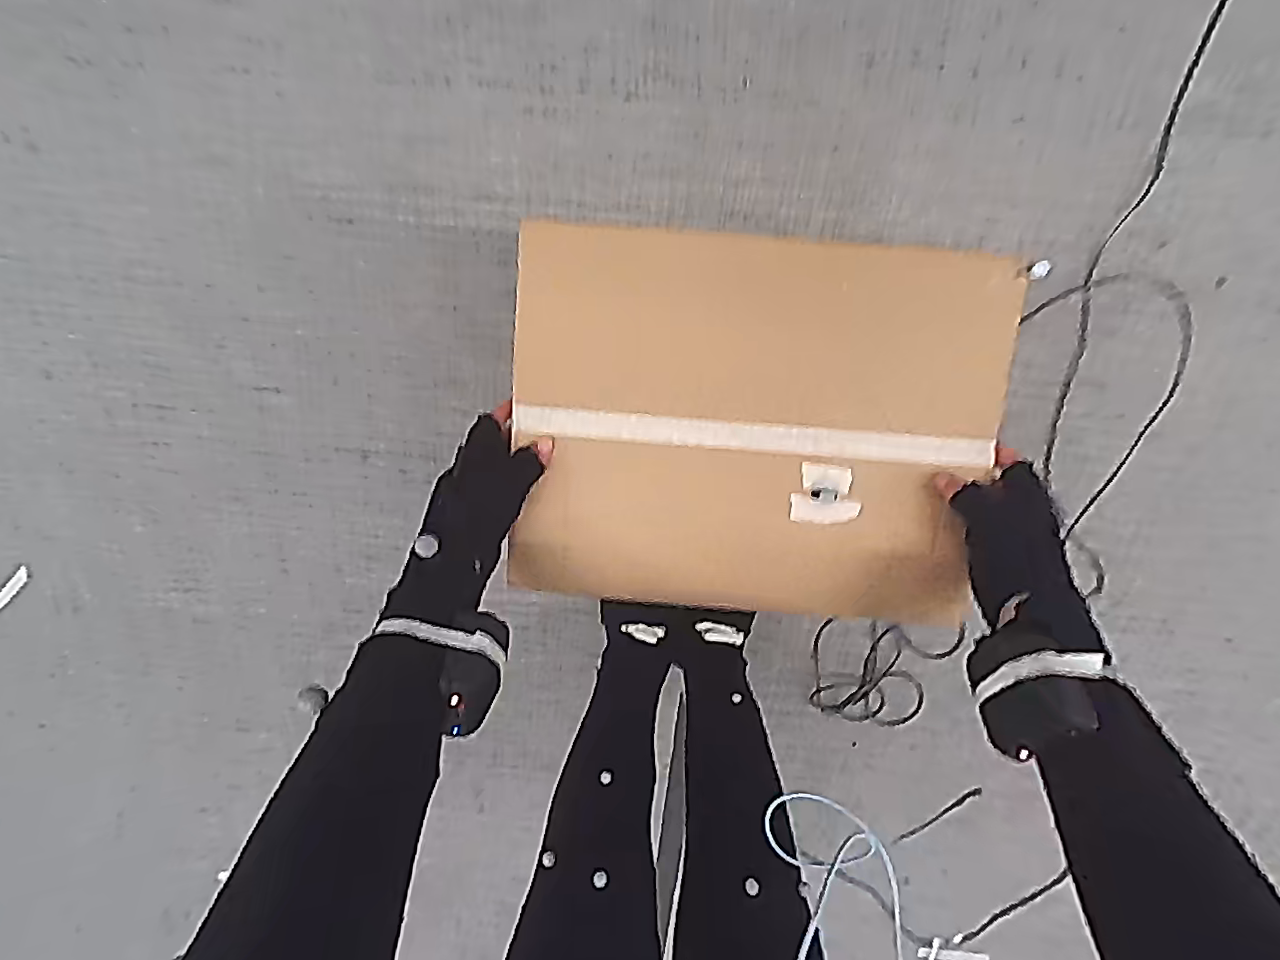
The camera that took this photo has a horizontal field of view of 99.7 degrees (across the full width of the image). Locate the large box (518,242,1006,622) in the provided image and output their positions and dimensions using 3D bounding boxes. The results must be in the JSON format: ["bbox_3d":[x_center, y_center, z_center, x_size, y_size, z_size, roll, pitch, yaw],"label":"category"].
[{"bbox_3d":[0.096,-0.055,0.612,0.408,0.320,0.320,4,100,1],"label":"large box"}]
